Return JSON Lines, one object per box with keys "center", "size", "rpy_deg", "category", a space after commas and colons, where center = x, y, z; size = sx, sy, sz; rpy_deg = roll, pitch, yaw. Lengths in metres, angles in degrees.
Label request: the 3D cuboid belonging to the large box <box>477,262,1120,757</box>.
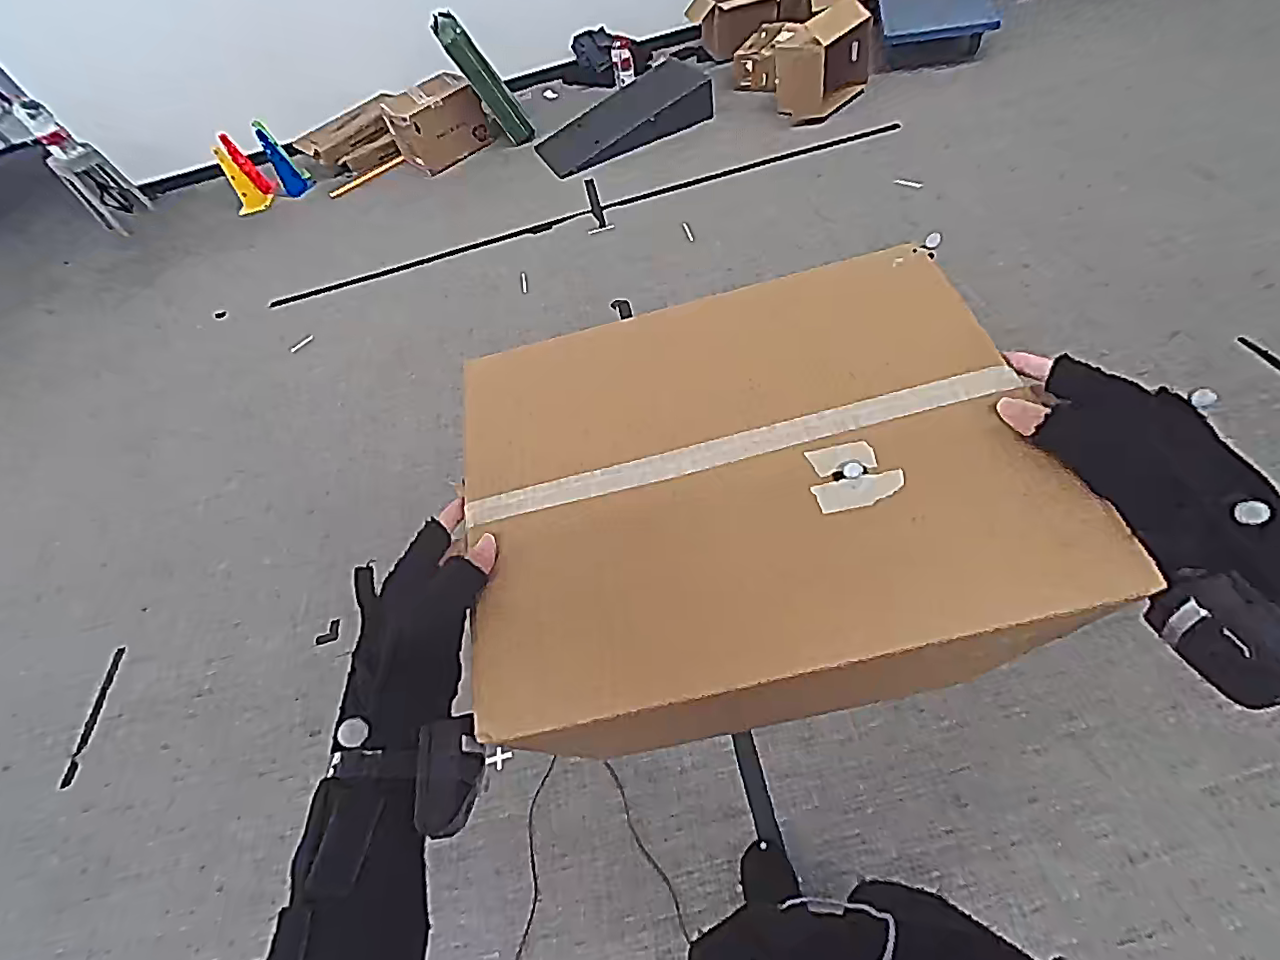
{"center": [0.094, 0.056, 0.535], "size": [0.408, 0.320, 0.320], "rpy_deg": [-14, 60, 2], "category": "large box"}
